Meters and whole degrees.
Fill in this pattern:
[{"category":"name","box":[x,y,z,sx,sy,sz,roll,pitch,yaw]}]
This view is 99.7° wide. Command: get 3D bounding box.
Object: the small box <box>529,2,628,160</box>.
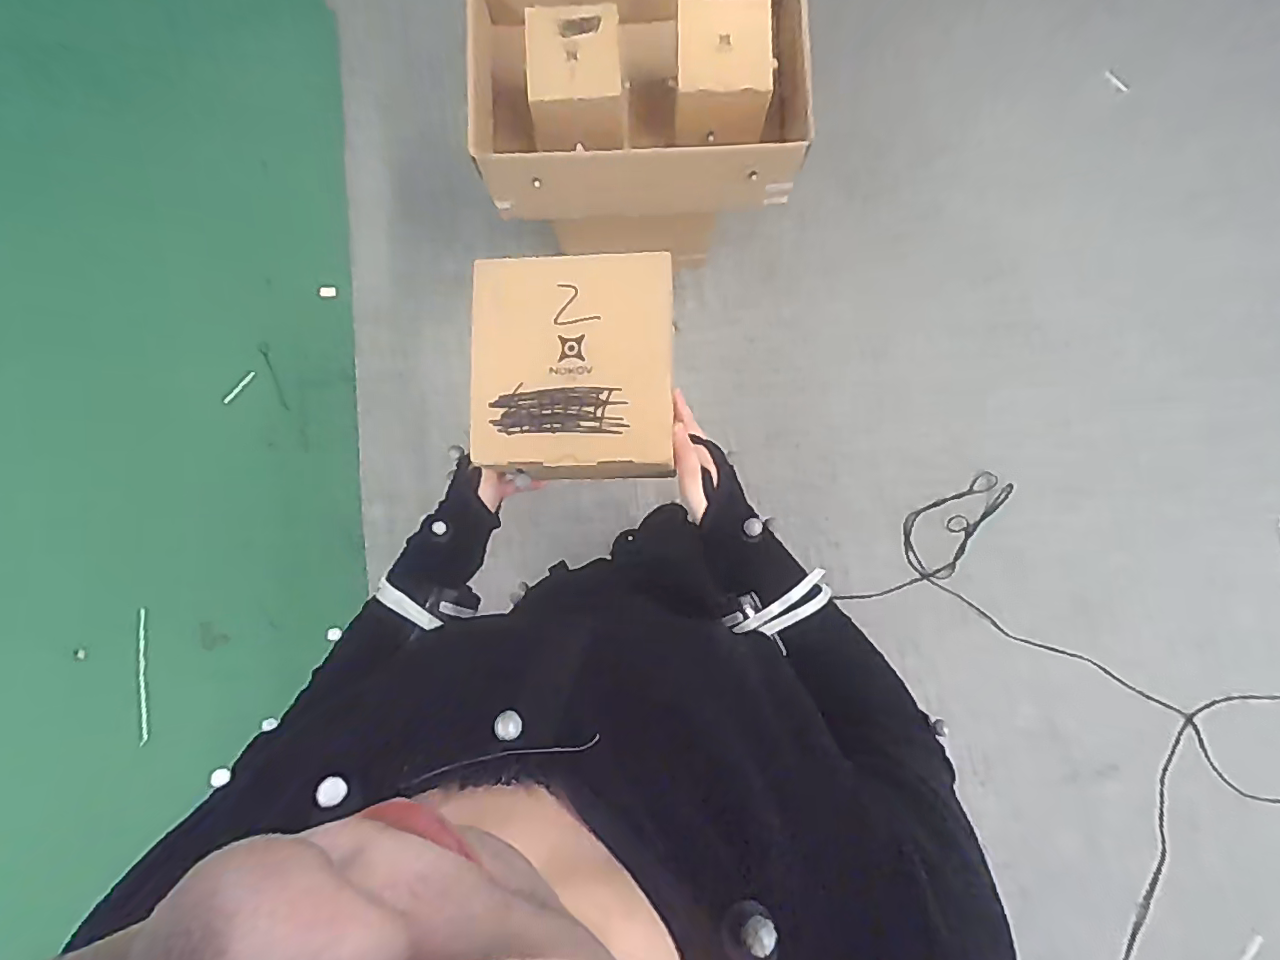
[{"category":"small box","box":[-0.111,-0.744,1.021,0.168,0.176,0.179,-3,87,2]}]
